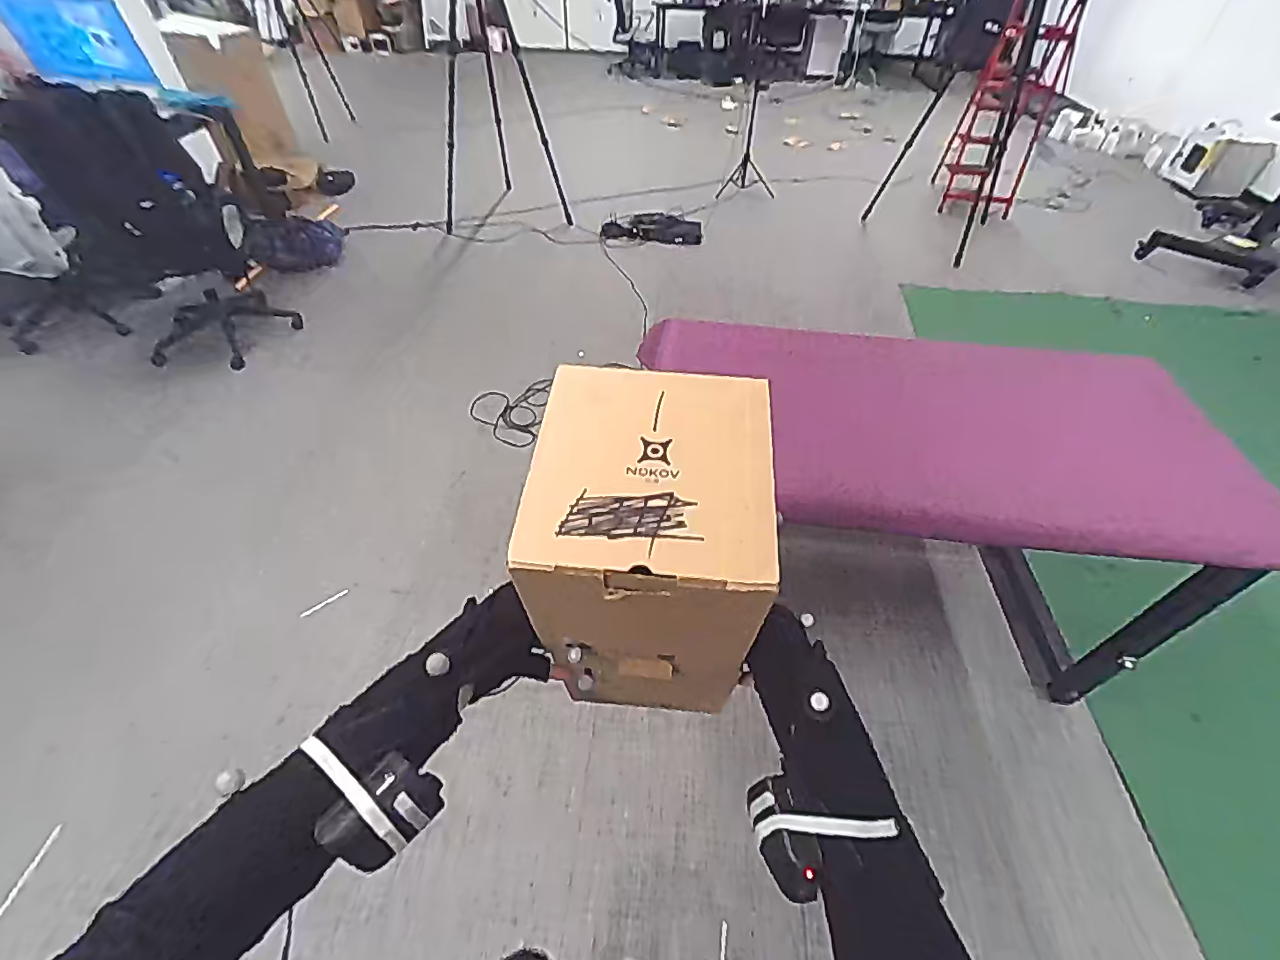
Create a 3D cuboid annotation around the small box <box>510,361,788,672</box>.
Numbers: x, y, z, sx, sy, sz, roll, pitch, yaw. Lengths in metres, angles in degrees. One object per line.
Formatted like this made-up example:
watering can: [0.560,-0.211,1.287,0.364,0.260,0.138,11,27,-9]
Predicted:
small box: [0.014,0.036,0.428,0.168,0.176,0.179,9,55,4]
